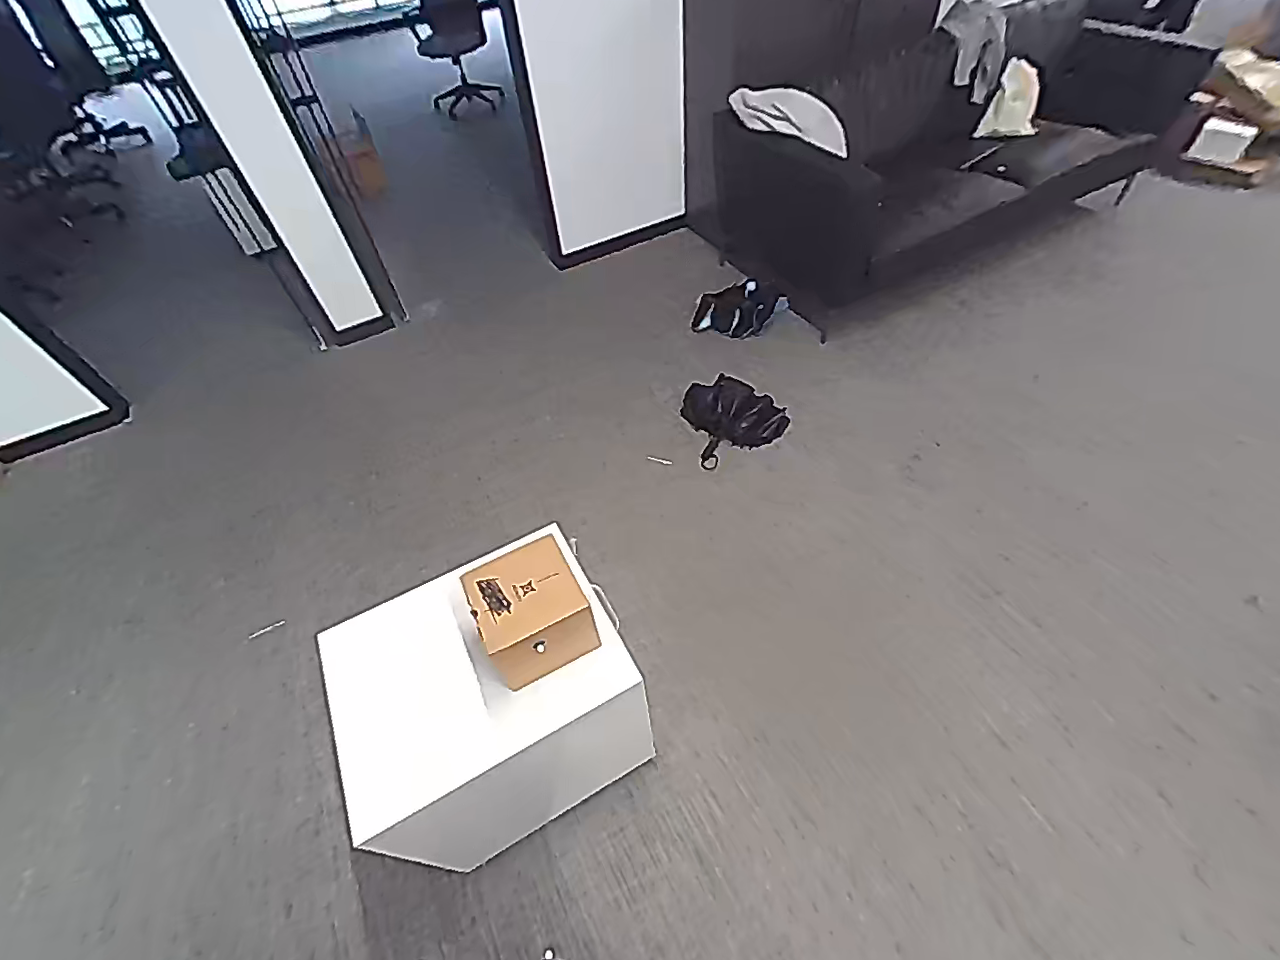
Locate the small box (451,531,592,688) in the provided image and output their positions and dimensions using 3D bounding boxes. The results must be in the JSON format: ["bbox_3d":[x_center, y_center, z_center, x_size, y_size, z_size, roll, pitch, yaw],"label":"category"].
[{"bbox_3d":[-0.198,0.226,0.933,0.179,0.176,0.168,-24,54,-18],"label":"small box"}]
